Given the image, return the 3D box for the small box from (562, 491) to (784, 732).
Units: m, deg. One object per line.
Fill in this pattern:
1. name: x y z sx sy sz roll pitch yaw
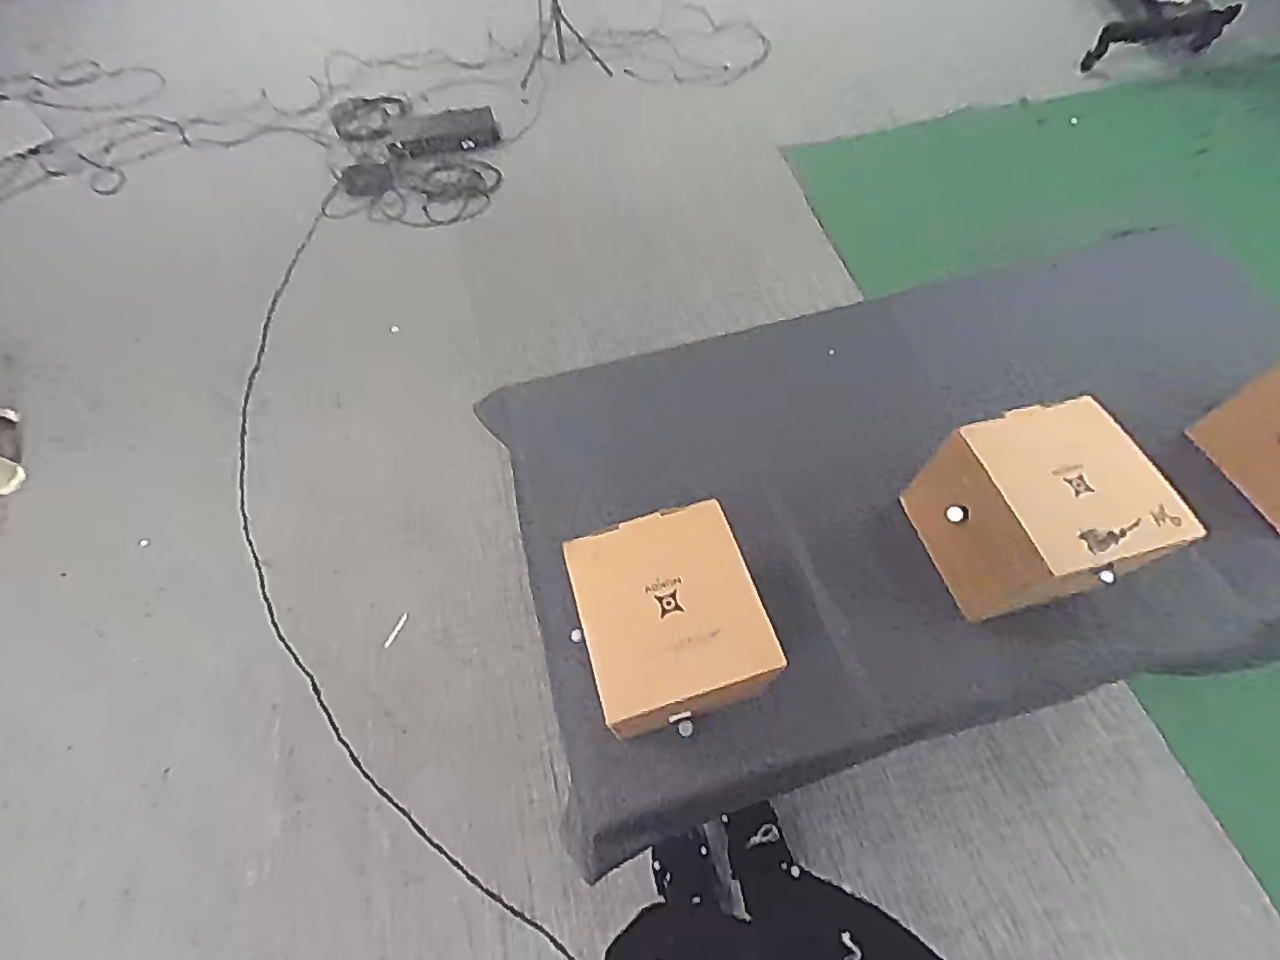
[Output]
1. small box: 0.026 0.140 0.555 0.168 0.176 0.179 -15 61 -4

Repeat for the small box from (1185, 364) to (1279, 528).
1. small box: 0.849 -0.051 0.651 0.168 0.176 0.179 -14 60 -5

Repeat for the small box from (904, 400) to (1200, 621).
1. small box: 0.439 0.040 0.619 0.168 0.176 0.179 -14 61 -5
